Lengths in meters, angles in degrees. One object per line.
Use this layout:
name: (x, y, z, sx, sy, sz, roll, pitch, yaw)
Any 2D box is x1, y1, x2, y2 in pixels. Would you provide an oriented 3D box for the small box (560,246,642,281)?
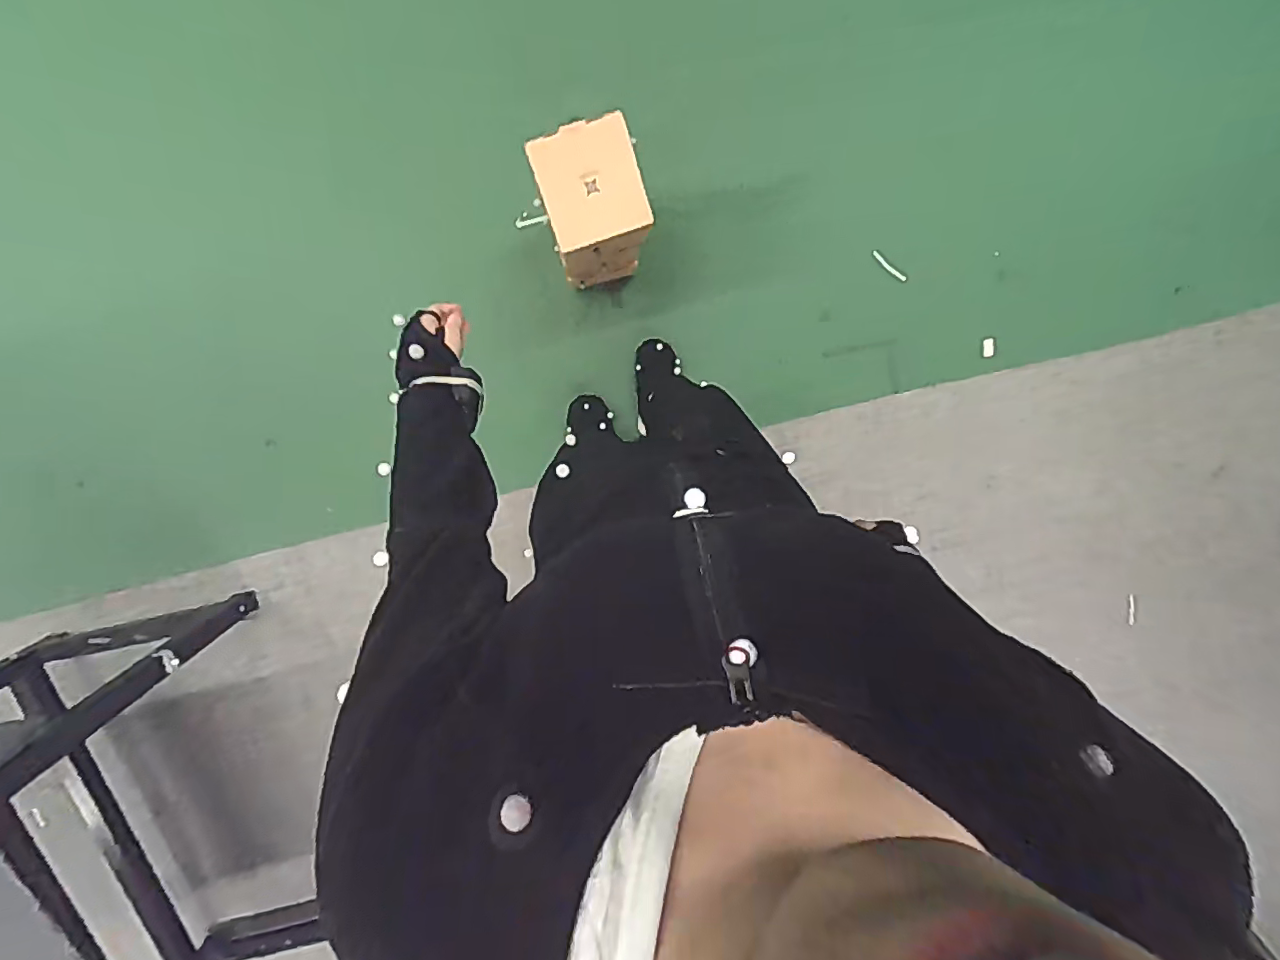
small box: (-0.101, -0.531, 1.119, 0.168, 0.176, 0.179, -16, 103, 0)

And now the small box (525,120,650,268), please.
small box: (-0.087, -0.492, 0.963, 0.168, 0.176, 0.179, -19, 103, 0)
